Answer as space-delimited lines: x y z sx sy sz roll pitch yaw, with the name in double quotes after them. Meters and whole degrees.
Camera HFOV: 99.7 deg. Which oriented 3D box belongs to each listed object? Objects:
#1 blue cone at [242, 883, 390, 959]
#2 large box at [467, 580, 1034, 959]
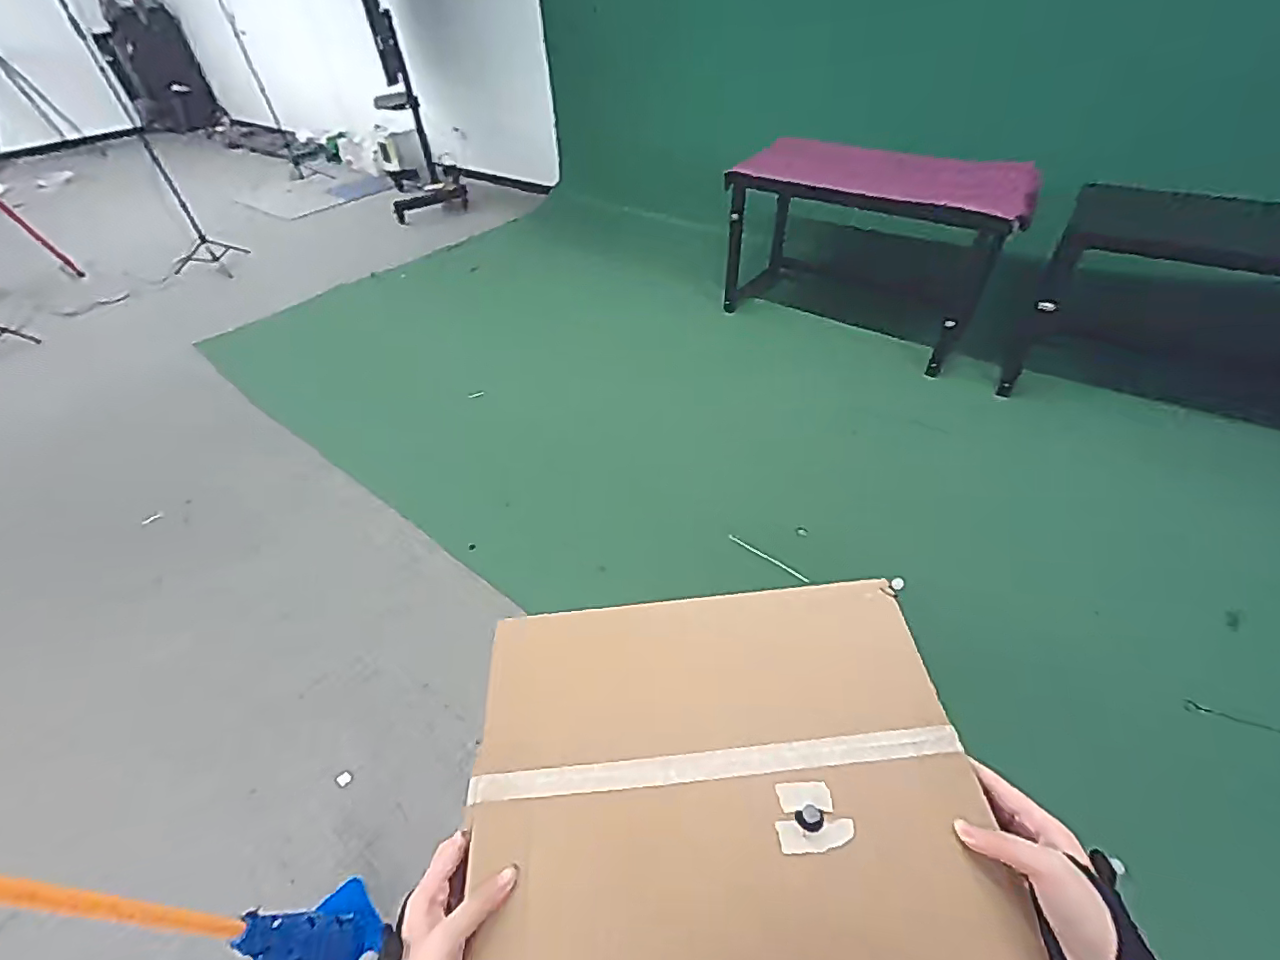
-0.665 0.890 1.048 0.192 0.380 0.193 -32 51 -28 "blue cone"
0.070 0.340 0.574 0.408 0.320 0.320 -6 48 -1 "large box"
